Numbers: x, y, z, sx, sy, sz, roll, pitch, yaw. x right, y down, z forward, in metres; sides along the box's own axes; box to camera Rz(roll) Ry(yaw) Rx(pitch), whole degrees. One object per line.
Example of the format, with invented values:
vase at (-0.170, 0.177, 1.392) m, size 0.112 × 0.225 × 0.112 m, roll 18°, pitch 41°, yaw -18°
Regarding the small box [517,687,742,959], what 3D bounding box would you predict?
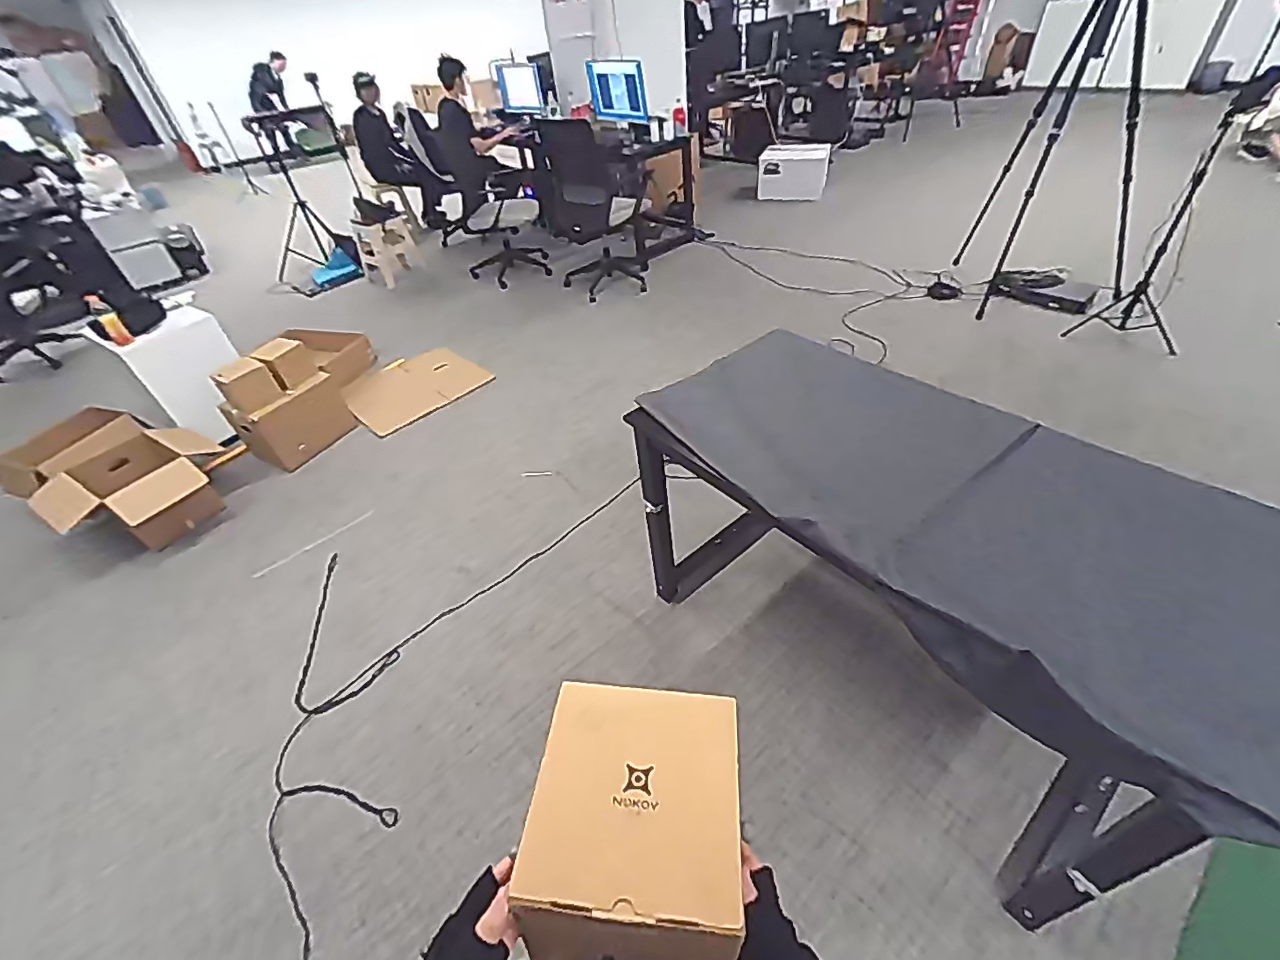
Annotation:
small box at (-0.001, 0.322, 0.495) m, size 0.168 × 0.176 × 0.179 m, roll 3°, pitch 36°, yaw 5°
